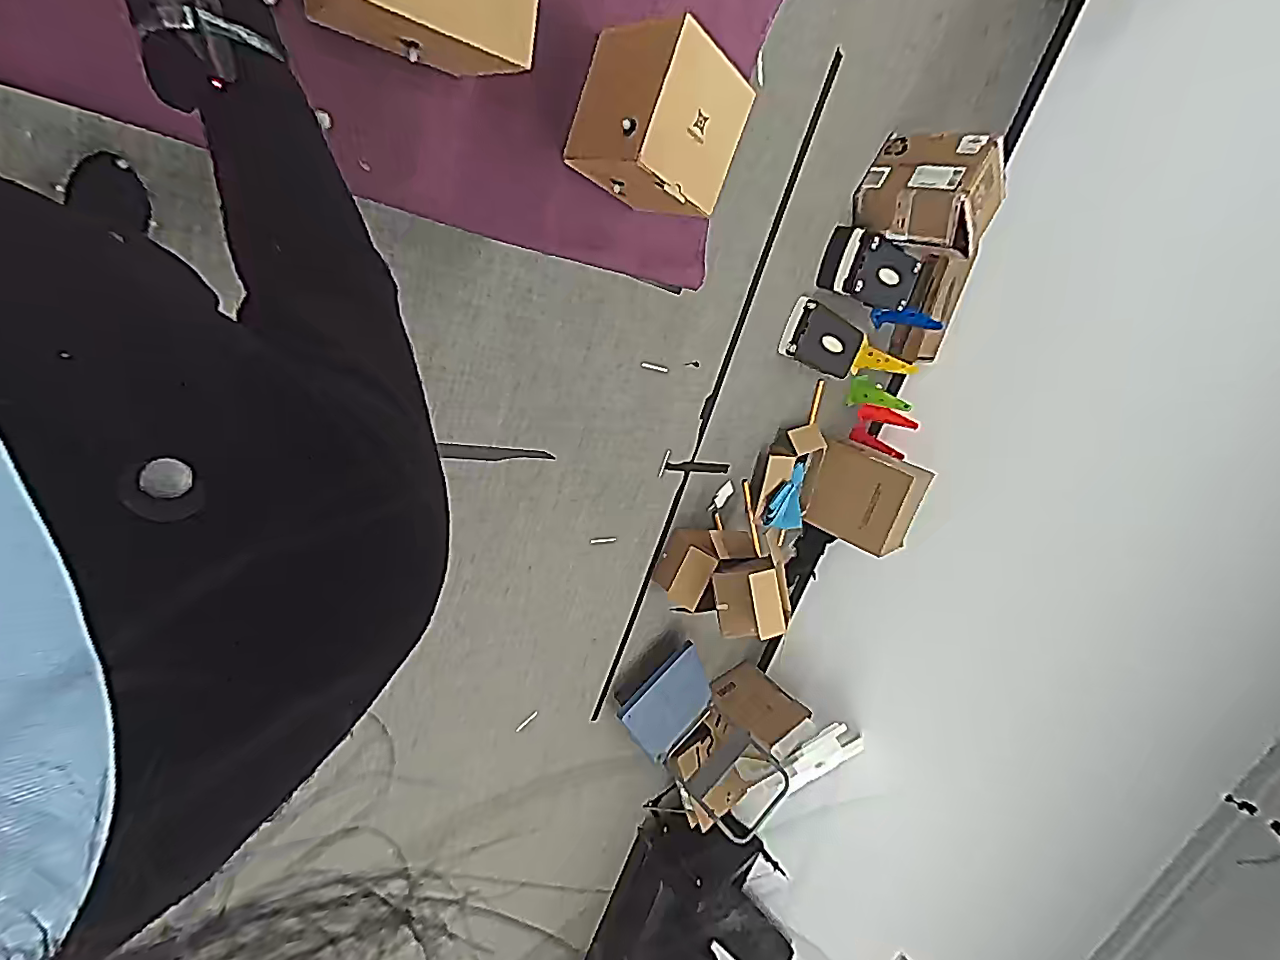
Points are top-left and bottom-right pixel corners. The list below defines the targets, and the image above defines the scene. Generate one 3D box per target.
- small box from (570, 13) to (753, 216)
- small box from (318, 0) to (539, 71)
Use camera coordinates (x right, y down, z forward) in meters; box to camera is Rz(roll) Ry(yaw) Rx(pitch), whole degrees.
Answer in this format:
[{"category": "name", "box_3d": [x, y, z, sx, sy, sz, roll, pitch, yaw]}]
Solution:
[{"category": "small box", "box_3d": [0.025, -0.507, 0.772, 0.168, 0.176, 0.179, 6, 110, -48]}, {"category": "small box", "box_3d": [-0.206, -0.520, 0.515, 0.168, 0.176, 0.179, -11, 123, -43]}]
